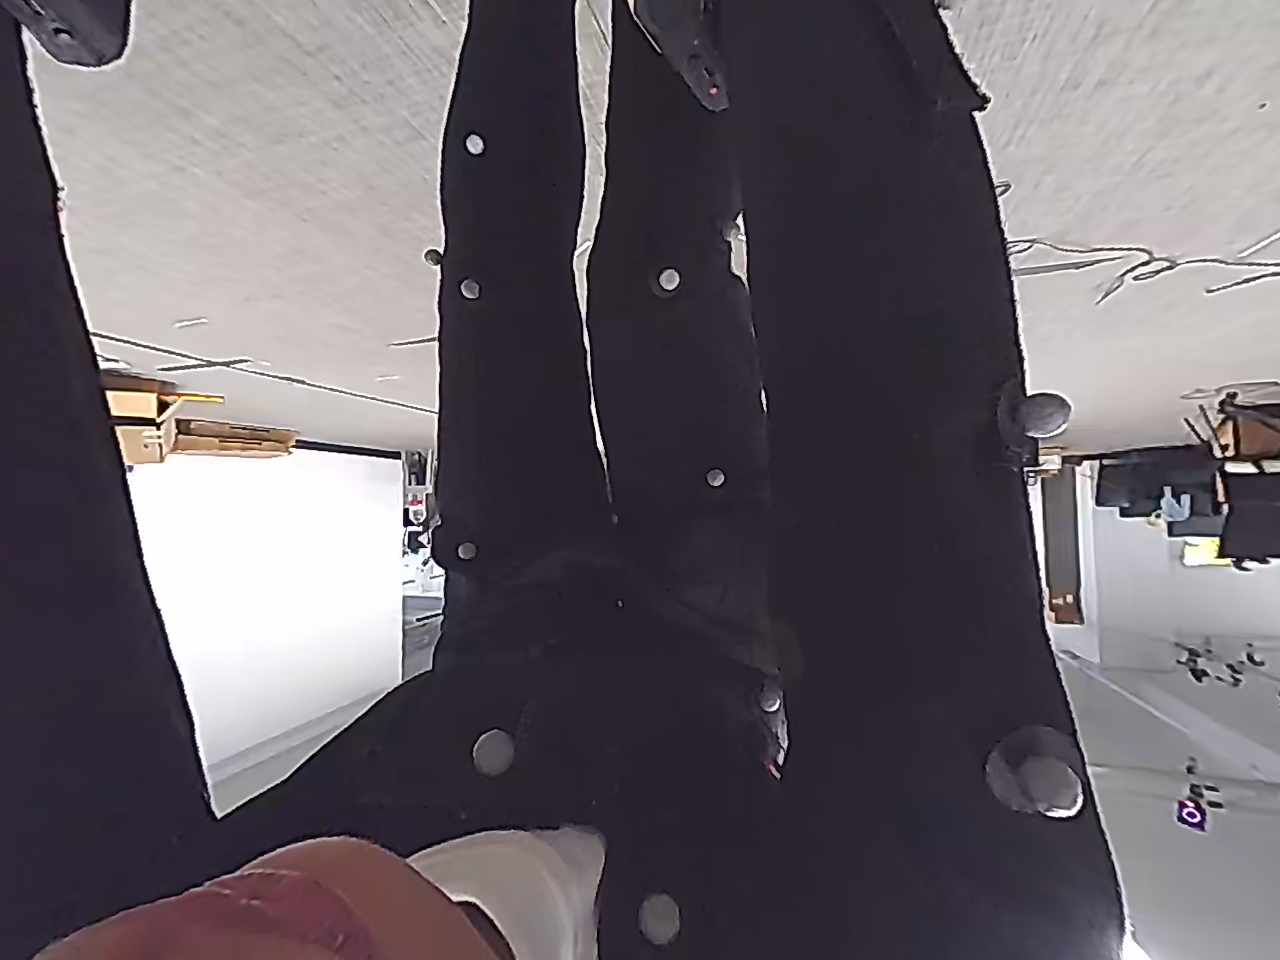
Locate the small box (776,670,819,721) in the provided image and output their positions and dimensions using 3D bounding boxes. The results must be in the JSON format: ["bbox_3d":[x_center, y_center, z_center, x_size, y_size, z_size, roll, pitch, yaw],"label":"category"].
[{"bbox_3d":[0.700,0.956,2.414,0.179,0.176,0.168,-3,178,13],"label":"small box"}]
